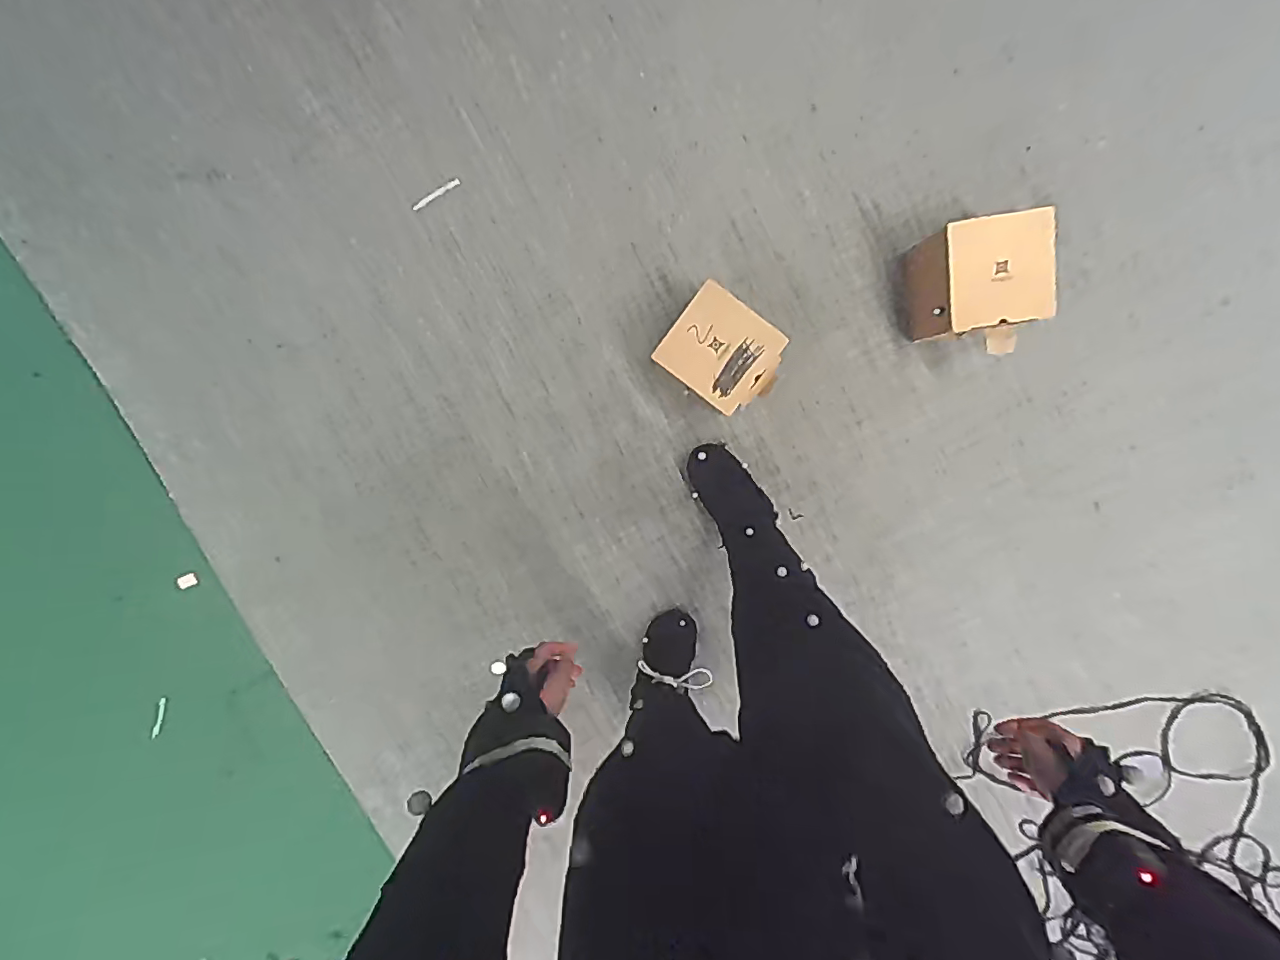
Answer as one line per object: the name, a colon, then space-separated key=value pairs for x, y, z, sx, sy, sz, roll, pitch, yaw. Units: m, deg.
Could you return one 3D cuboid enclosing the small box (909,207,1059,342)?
small box: x=0.589 y=-0.348 z=0.944 sx=0.168 sy=0.176 sz=0.179 roll=-7 pitch=99 yaw=5
